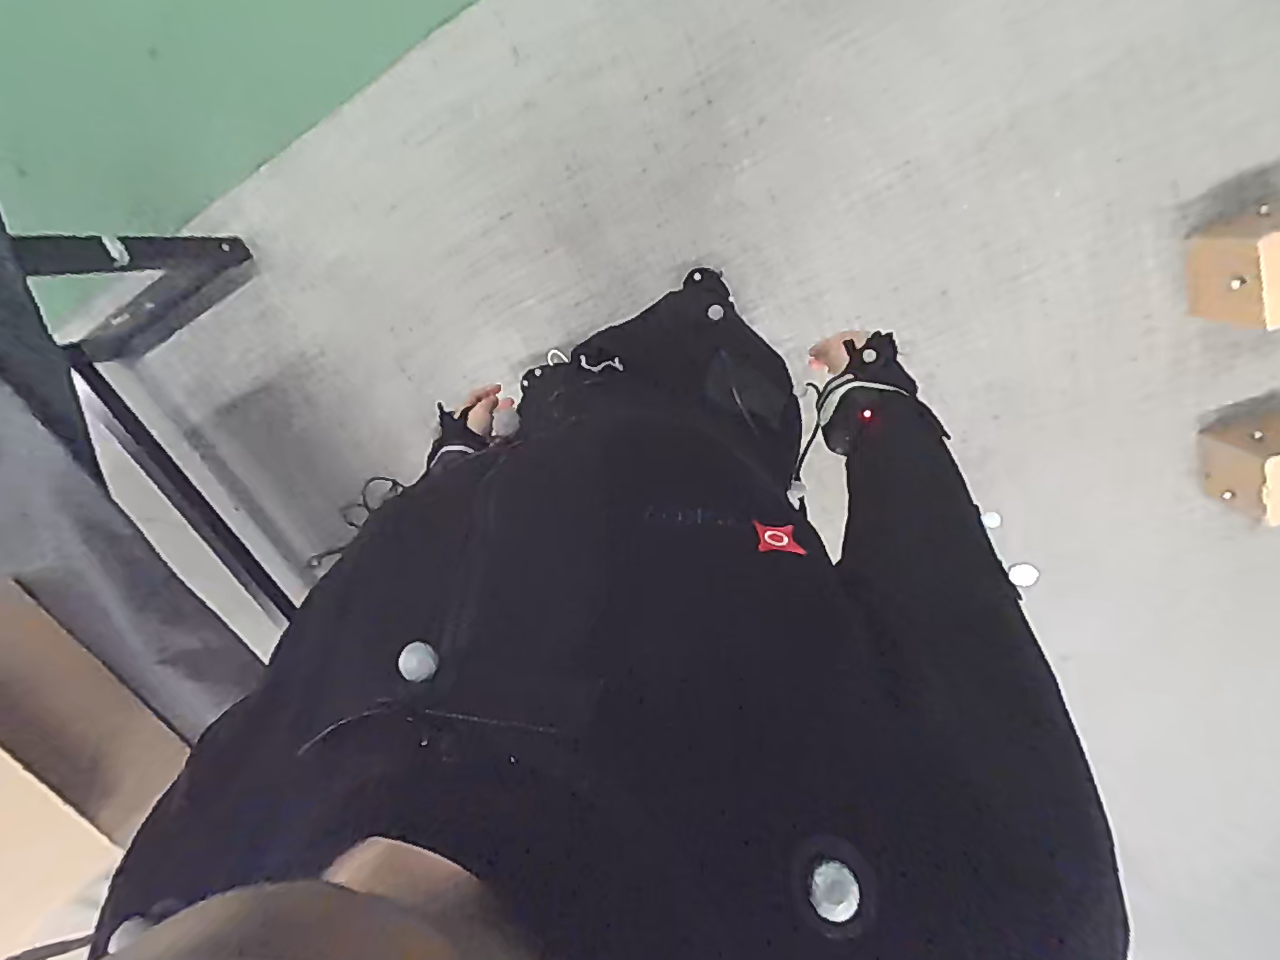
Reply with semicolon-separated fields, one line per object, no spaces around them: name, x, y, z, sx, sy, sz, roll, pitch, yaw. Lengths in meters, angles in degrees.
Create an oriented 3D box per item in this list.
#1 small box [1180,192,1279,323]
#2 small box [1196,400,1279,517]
small box;1.166;-0.418;1.001;0.168;0.176;0.179;-23;109;16
small box;1.338;-0.049;1.144;0.179;0.176;0.168;-19;111;14
